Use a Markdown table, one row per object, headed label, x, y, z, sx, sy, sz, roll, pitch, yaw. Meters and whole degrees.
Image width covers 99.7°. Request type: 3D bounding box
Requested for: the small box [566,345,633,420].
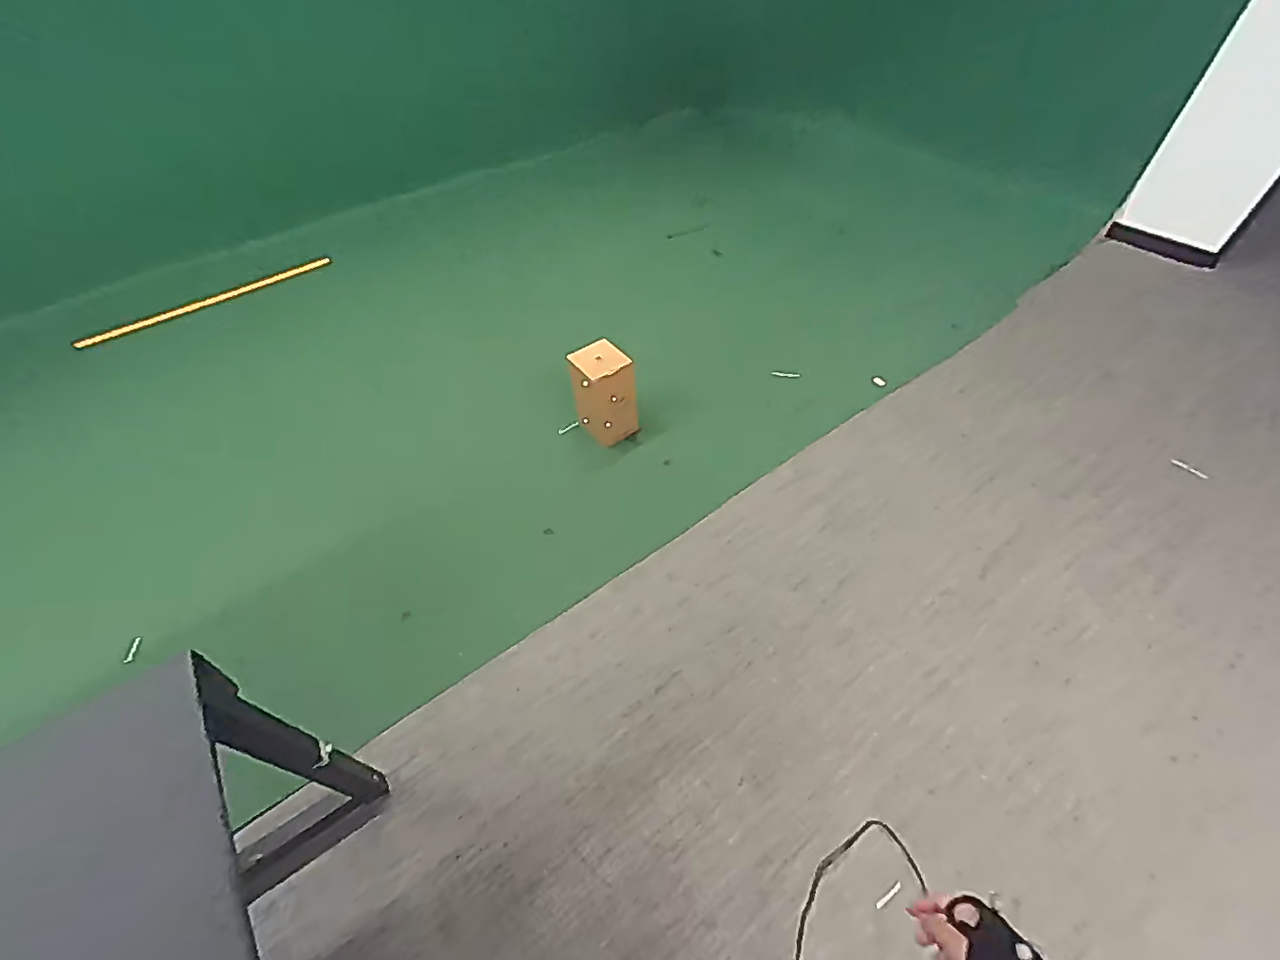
| label | x | y | z | sx | sy | sz | roll | pitch | yaw |
| --- | --- | --- | --- | --- | --- | --- | --- | --- | --- |
| small box | -0.141 | -0.343 | 1.916 | 0.168 | 0.176 | 0.179 | -30 | 54 | -22 |
